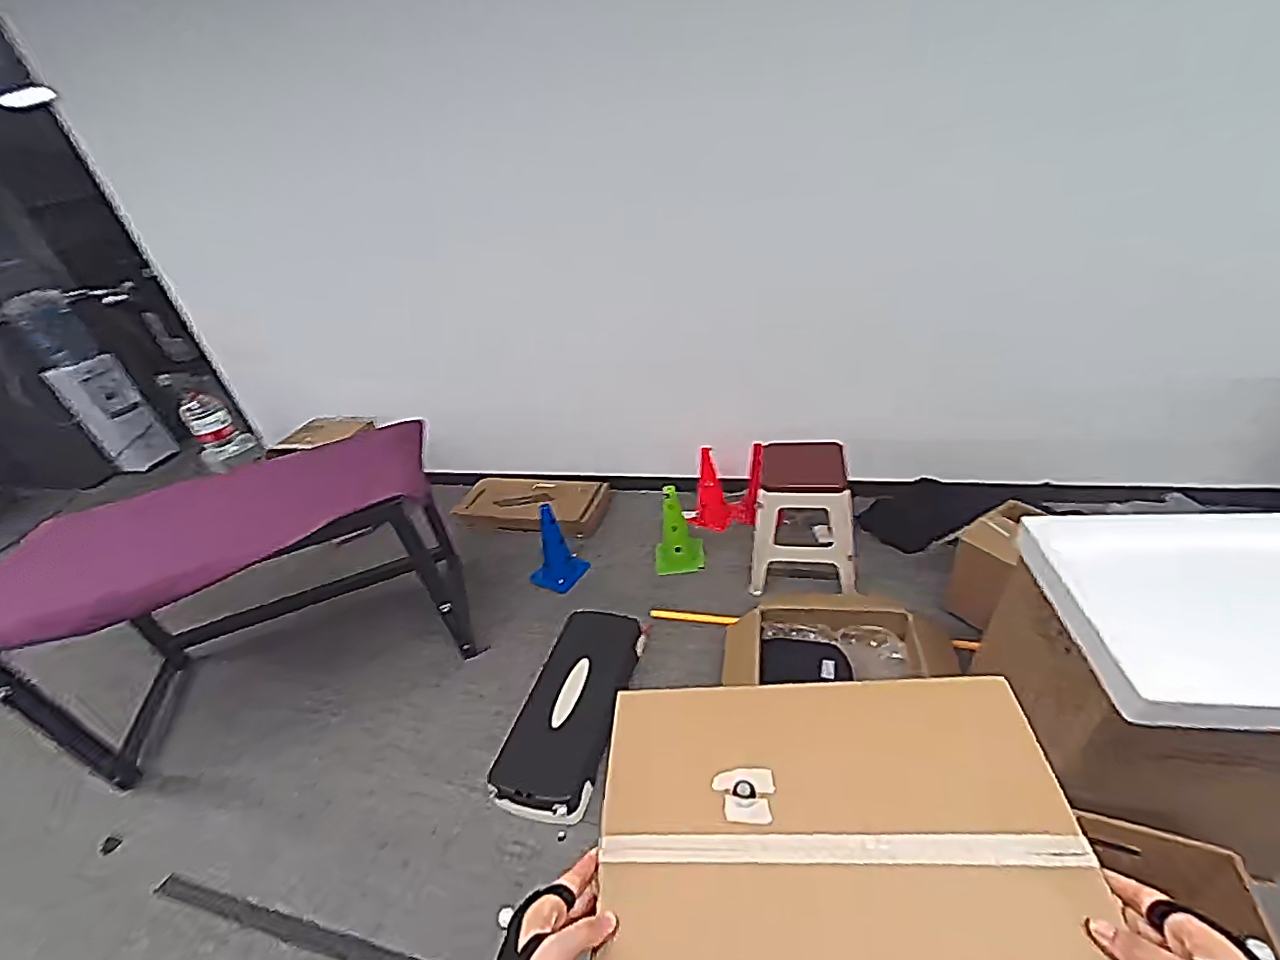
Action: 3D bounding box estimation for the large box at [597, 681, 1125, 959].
[{"bbox_3d":[0.193,0.445,0.565,0.408,0.320,0.320,-8,37,10],"label":"large box"}]
